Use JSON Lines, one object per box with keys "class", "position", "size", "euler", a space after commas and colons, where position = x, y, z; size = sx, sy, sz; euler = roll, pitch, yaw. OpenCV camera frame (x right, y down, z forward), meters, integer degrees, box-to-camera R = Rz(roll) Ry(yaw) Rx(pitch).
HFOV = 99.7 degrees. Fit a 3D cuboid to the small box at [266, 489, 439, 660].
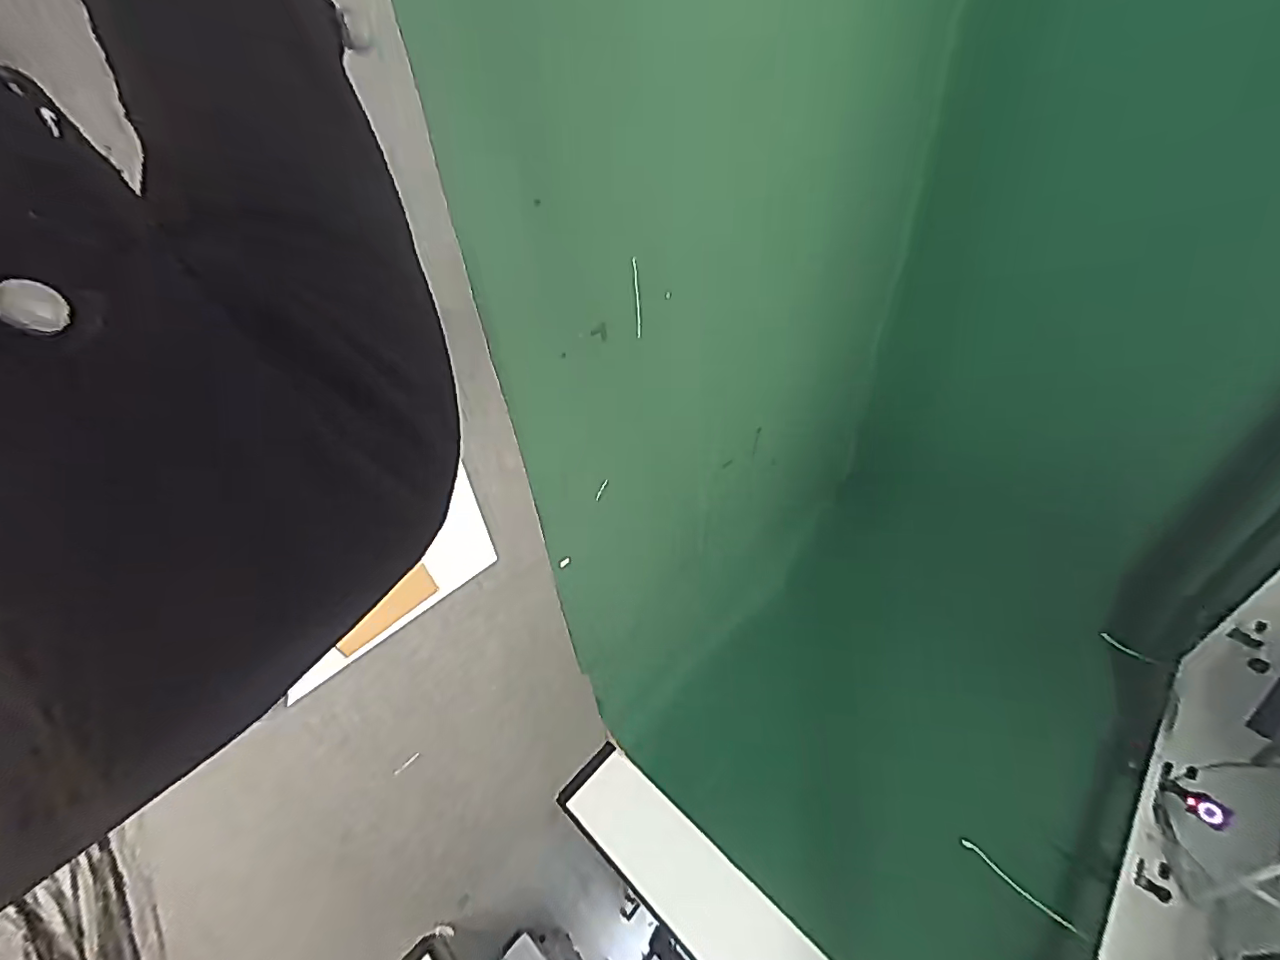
{"class": "small box", "position": [-0.471, 0.147, 0.883], "size": [0.179, 0.176, 0.168], "euler": [-39, 142, -28]}
